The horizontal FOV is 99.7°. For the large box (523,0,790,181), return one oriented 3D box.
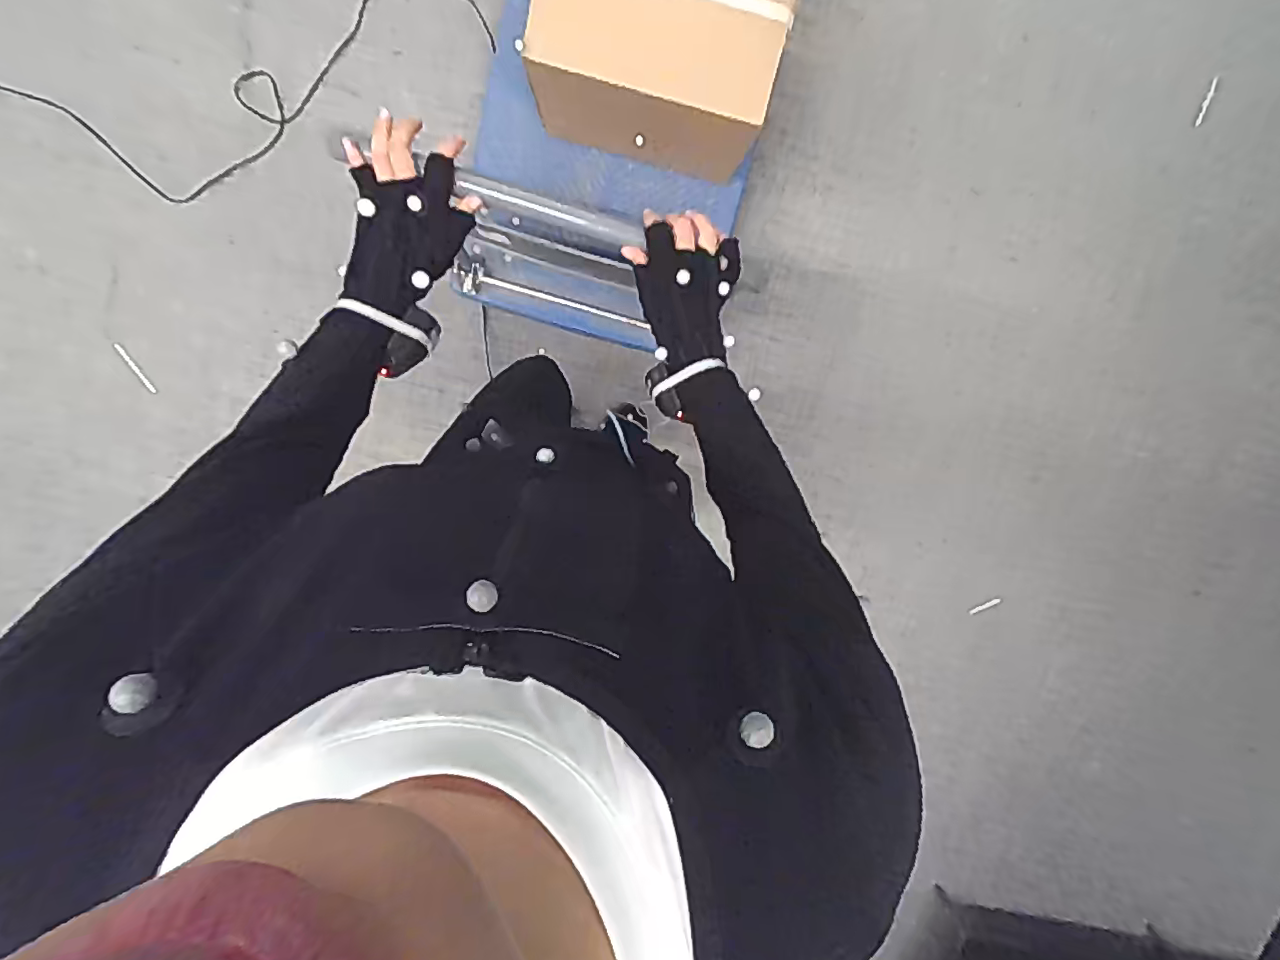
[{"bbox_3d":[0.036,-0.802,0.993,0.408,0.320,0.320,13,101,-4],"label":"large box"}]
